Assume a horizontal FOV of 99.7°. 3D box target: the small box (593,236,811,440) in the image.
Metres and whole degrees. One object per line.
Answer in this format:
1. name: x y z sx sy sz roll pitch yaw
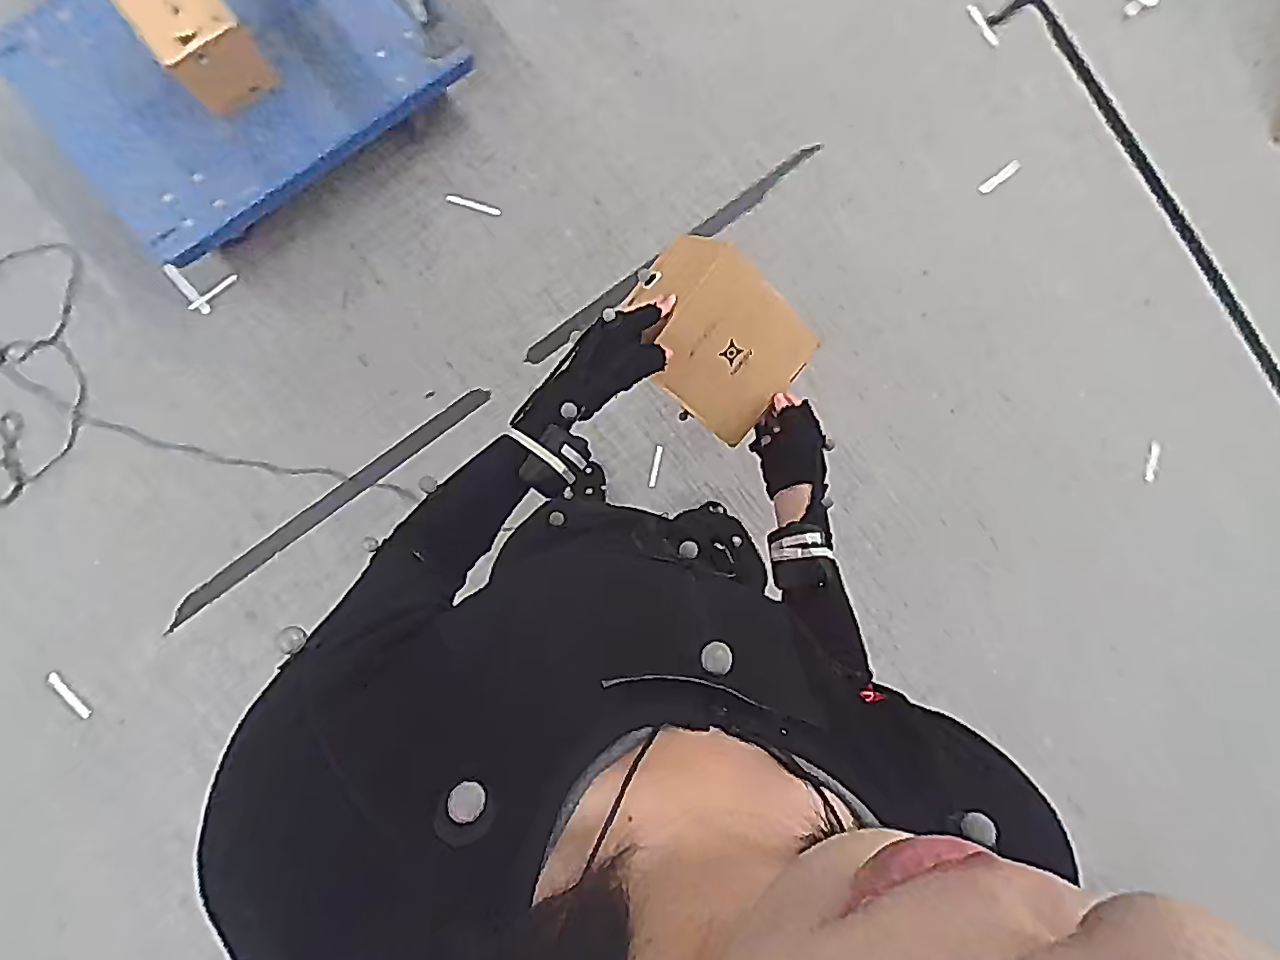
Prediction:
1. small box: 0.068 -0.183 0.675 0.179 0.176 0.168 33 100 -29

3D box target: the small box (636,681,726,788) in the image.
1. small box: 0.102 0.683 1.476 0.168 0.176 0.179 34 88 -6

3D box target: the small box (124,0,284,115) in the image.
1. small box: -0.906 -0.925 1.133 0.168 0.176 0.179 -36 94 -4
